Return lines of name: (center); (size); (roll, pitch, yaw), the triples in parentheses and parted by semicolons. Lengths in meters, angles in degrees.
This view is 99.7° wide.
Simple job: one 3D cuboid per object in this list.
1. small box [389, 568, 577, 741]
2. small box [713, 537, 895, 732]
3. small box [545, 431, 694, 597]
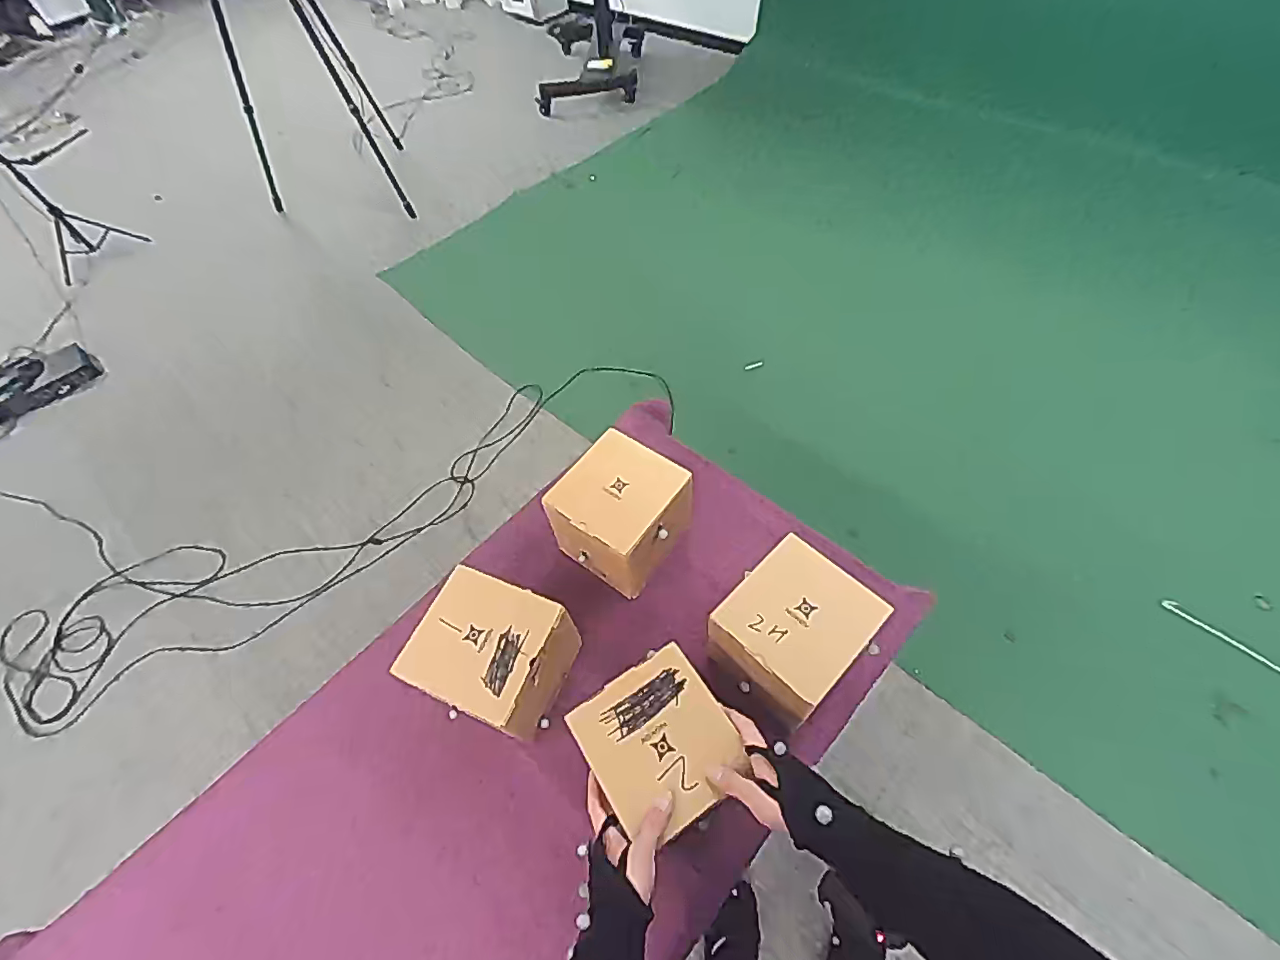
small box: (-0.207, 0.255, 0.775); (0.179, 0.176, 0.168); (18, 60, 16)
small box: (0.214, 0.220, 0.759); (0.179, 0.176, 0.168); (-40, 61, -19)
small box: (-0.028, 0.059, 0.889); (0.168, 0.176, 0.179); (31, 66, 22)
